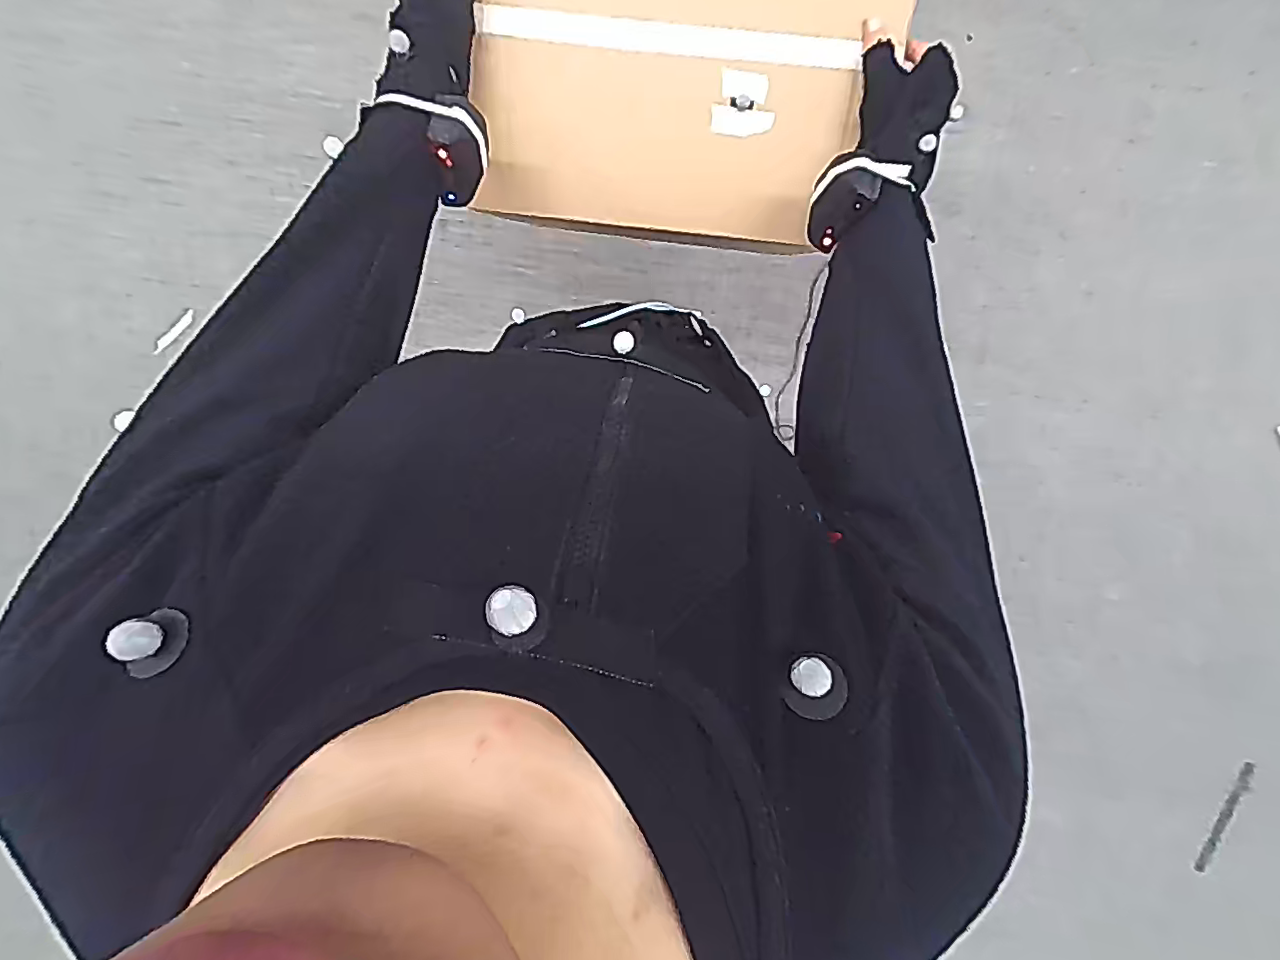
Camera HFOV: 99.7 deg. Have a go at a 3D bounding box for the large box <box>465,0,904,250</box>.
[{"bbox_3d":[0.038,-0.457,0.639,0.408,0.320,0.320,6,112,0],"label":"large box"}]
